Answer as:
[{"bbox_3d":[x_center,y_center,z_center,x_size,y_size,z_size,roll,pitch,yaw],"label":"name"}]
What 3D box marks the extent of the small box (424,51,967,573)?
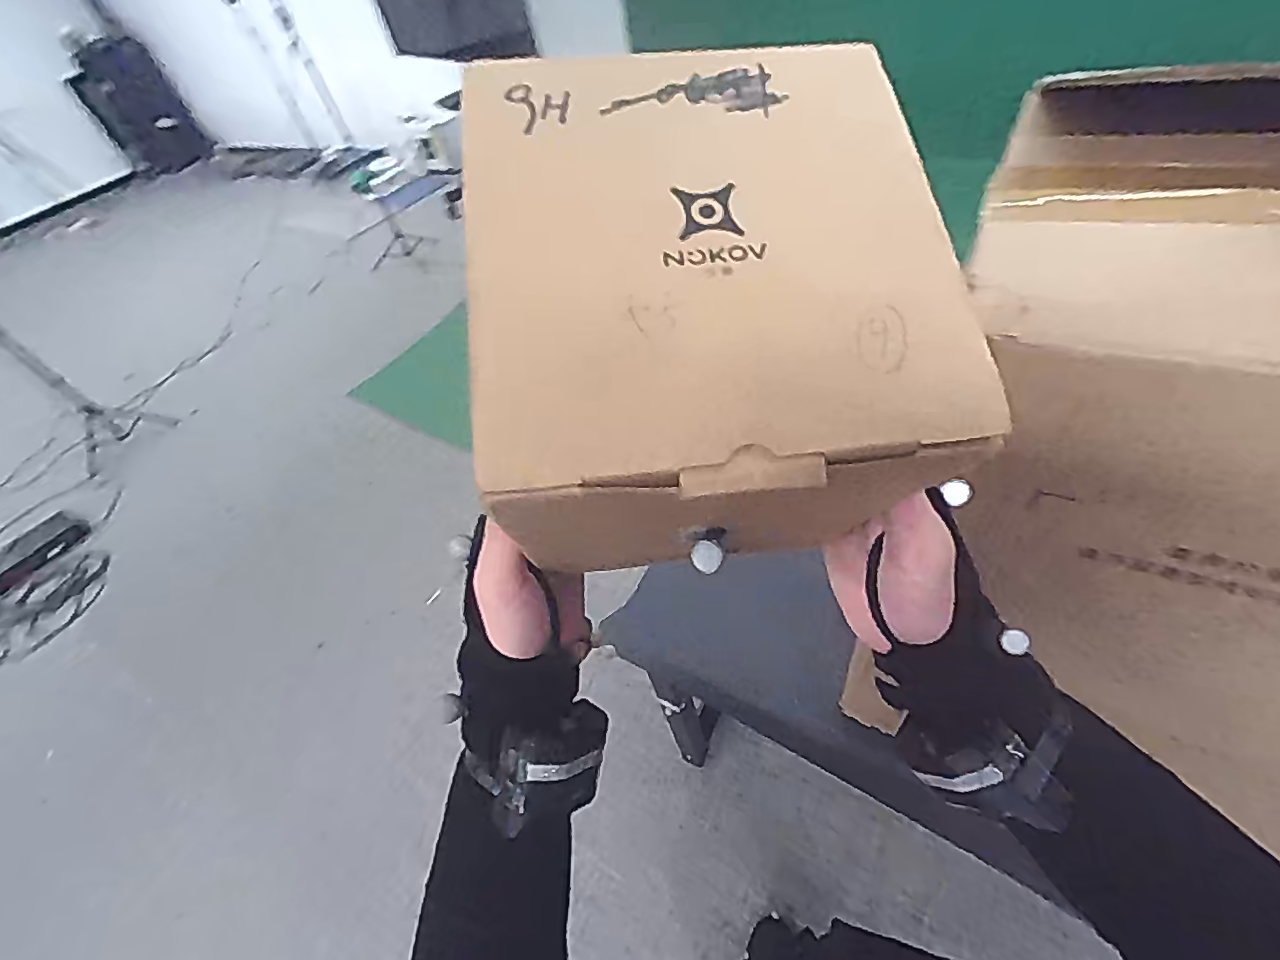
[{"bbox_3d":[0.009,-0.052,0.259,0.168,0.176,0.179,-6,74,-4],"label":"small box"}]
